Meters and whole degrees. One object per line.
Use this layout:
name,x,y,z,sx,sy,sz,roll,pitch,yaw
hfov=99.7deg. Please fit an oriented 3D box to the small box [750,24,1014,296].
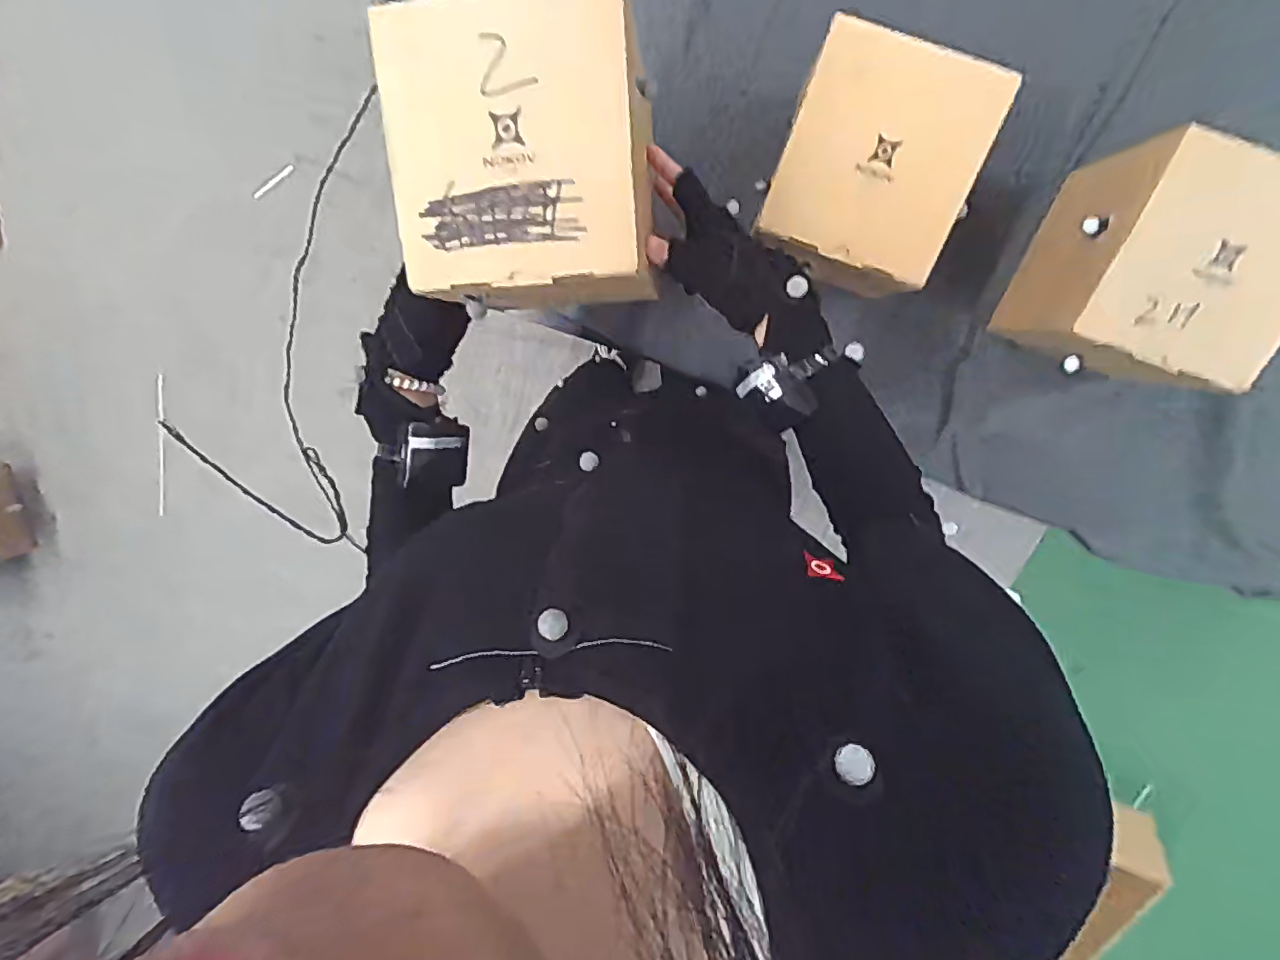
small box,0.221,-0.303,0.556,0.168,0.176,0.179,19,108,0

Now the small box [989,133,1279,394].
small box,0.503,-0.206,0.549,0.168,0.176,0.179,20,108,1
